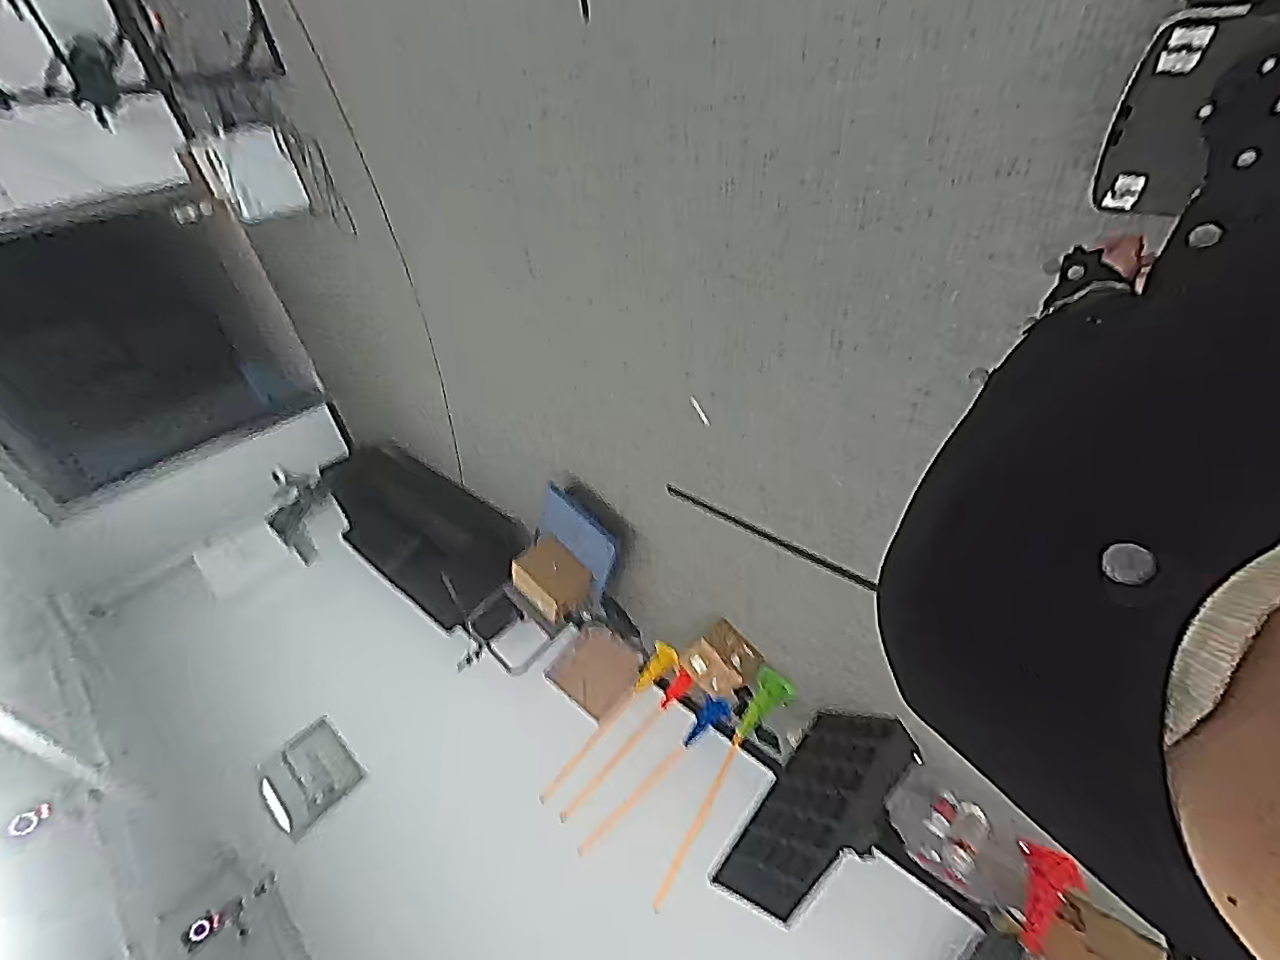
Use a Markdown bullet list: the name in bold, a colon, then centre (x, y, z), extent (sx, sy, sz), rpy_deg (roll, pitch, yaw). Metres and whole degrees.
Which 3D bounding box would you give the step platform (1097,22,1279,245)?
- **step platform**: centre (1.134, -0.500, 0.807), extent (0.684, 0.204, 0.286), rpy_deg (31, 140, 32)
